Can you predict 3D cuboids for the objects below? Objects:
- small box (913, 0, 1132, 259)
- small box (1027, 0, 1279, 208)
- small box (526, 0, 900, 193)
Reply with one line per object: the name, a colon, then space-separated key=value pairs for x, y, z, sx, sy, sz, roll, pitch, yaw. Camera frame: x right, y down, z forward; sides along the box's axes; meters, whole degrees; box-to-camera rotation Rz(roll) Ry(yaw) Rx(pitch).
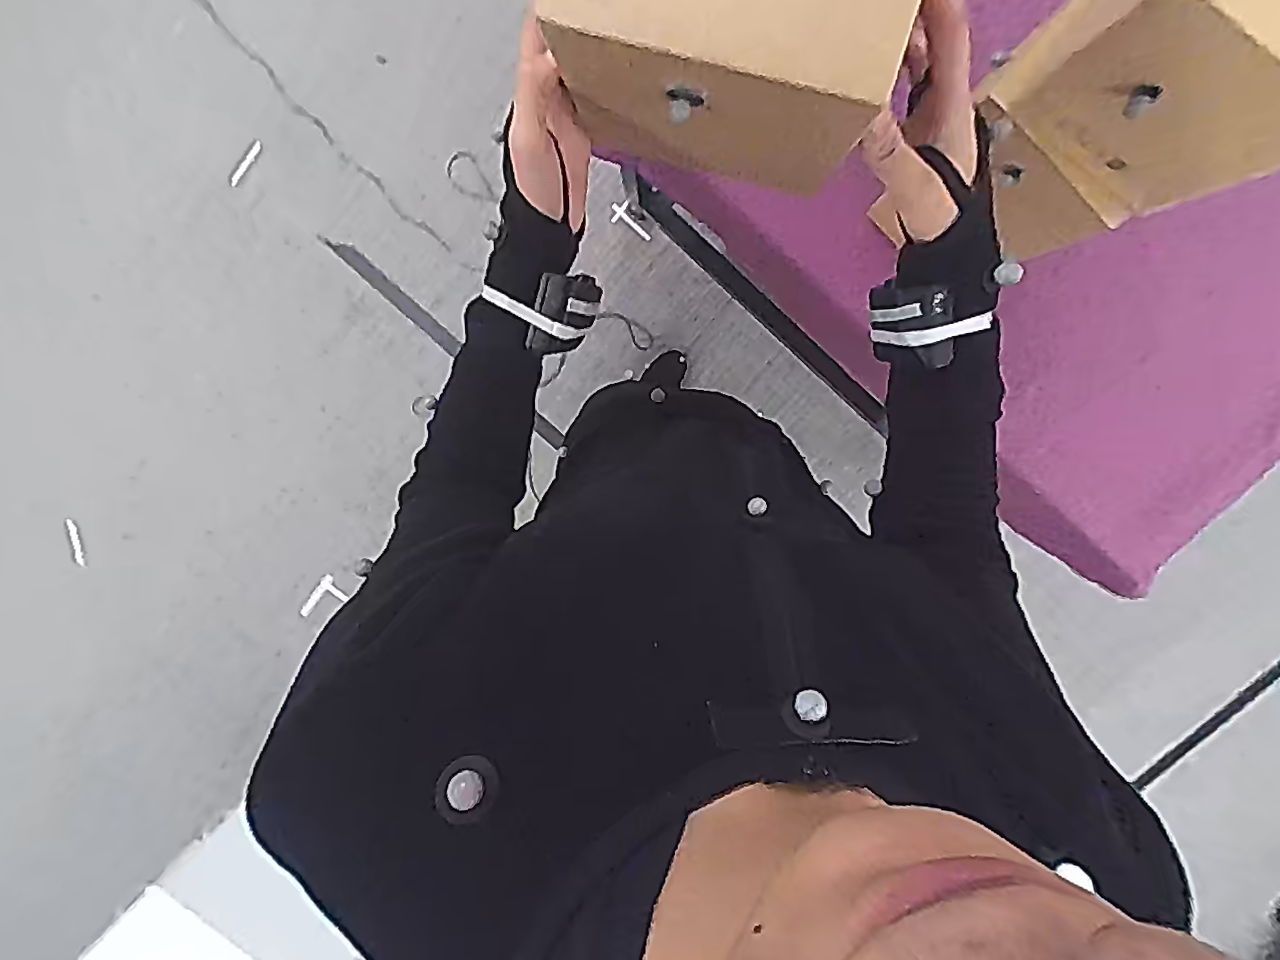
small box: x=0.429 y=-0.362 z=0.562 sx=0.179 sy=0.176 sz=0.168 roll=43 pitch=99 yaw=-6
small box: x=0.439 y=-0.342 z=0.400 sx=0.168 sy=0.176 sz=0.179 roll=35 pitch=98 yaw=-4
small box: x=0.052 y=-0.294 z=0.323 sx=0.179 sy=0.176 sz=0.168 roll=14 pitch=104 yaw=1
